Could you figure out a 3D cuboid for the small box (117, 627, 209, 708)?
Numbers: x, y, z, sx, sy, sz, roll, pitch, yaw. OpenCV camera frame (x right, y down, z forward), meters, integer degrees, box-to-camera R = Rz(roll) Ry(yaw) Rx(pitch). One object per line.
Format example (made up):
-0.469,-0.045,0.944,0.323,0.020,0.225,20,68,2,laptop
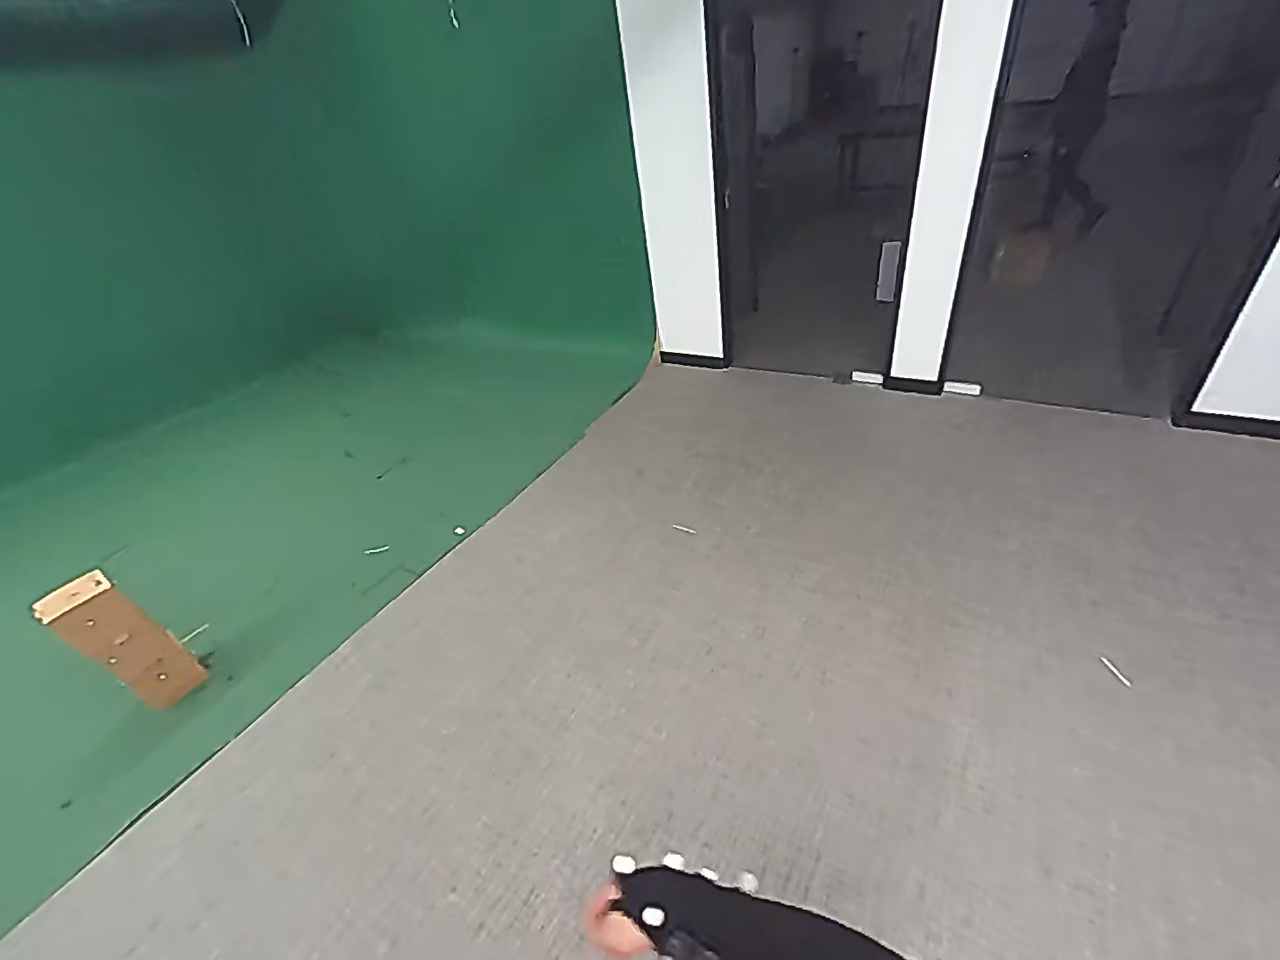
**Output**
-1.693,0.669,1.932,0.168,0.176,0.179,19,45,32,small box

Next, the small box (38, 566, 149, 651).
-1.745,0.413,1.732,0.168,0.176,0.179,17,44,32,small box
